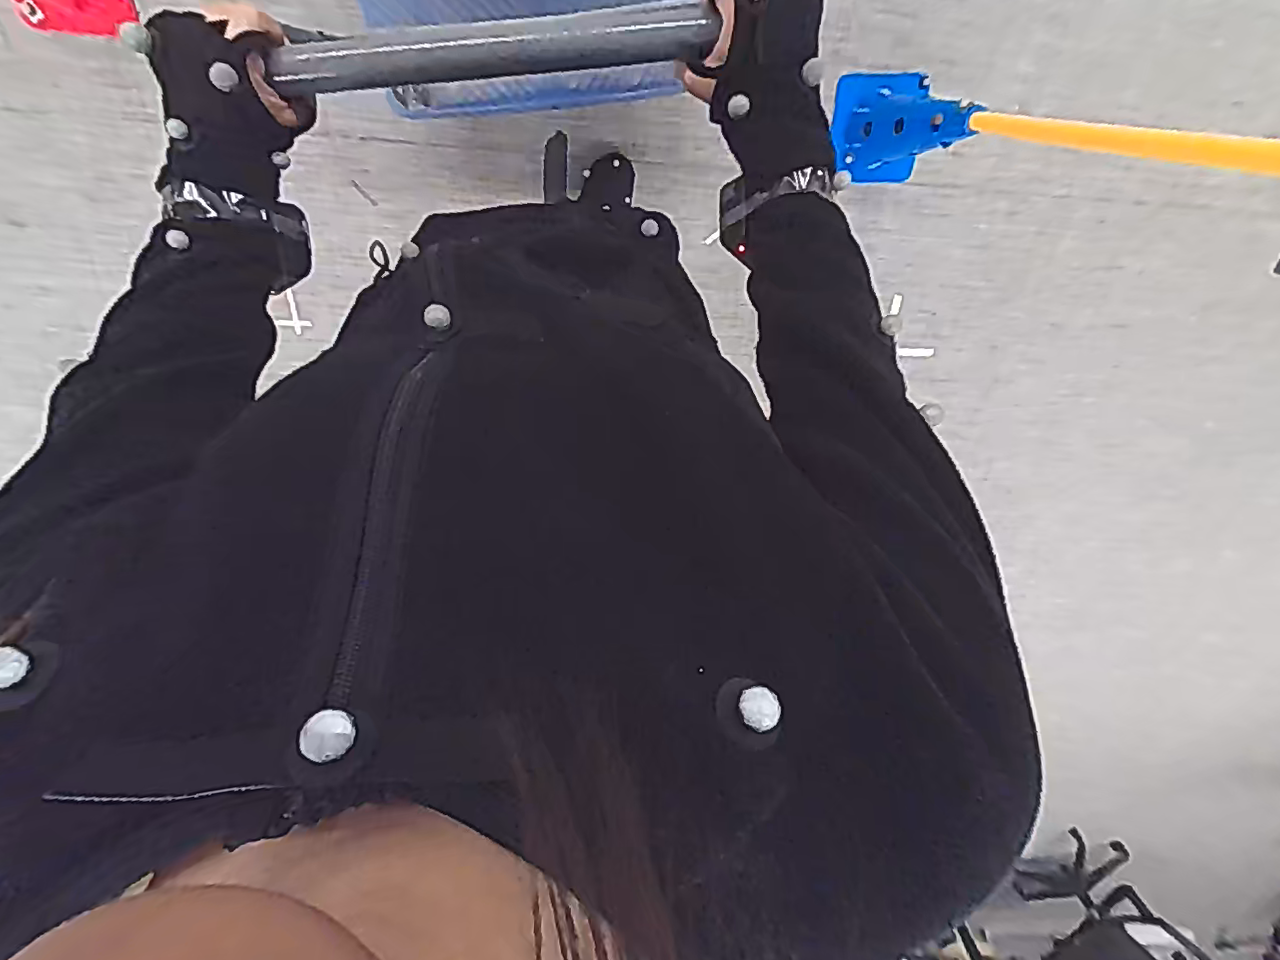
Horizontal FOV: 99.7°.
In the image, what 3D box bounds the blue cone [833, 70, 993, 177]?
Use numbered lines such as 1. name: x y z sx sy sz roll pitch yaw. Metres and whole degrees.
1. blue cone: 0.528 -0.681 1.021 0.193 0.380 0.192 -1 120 -4
